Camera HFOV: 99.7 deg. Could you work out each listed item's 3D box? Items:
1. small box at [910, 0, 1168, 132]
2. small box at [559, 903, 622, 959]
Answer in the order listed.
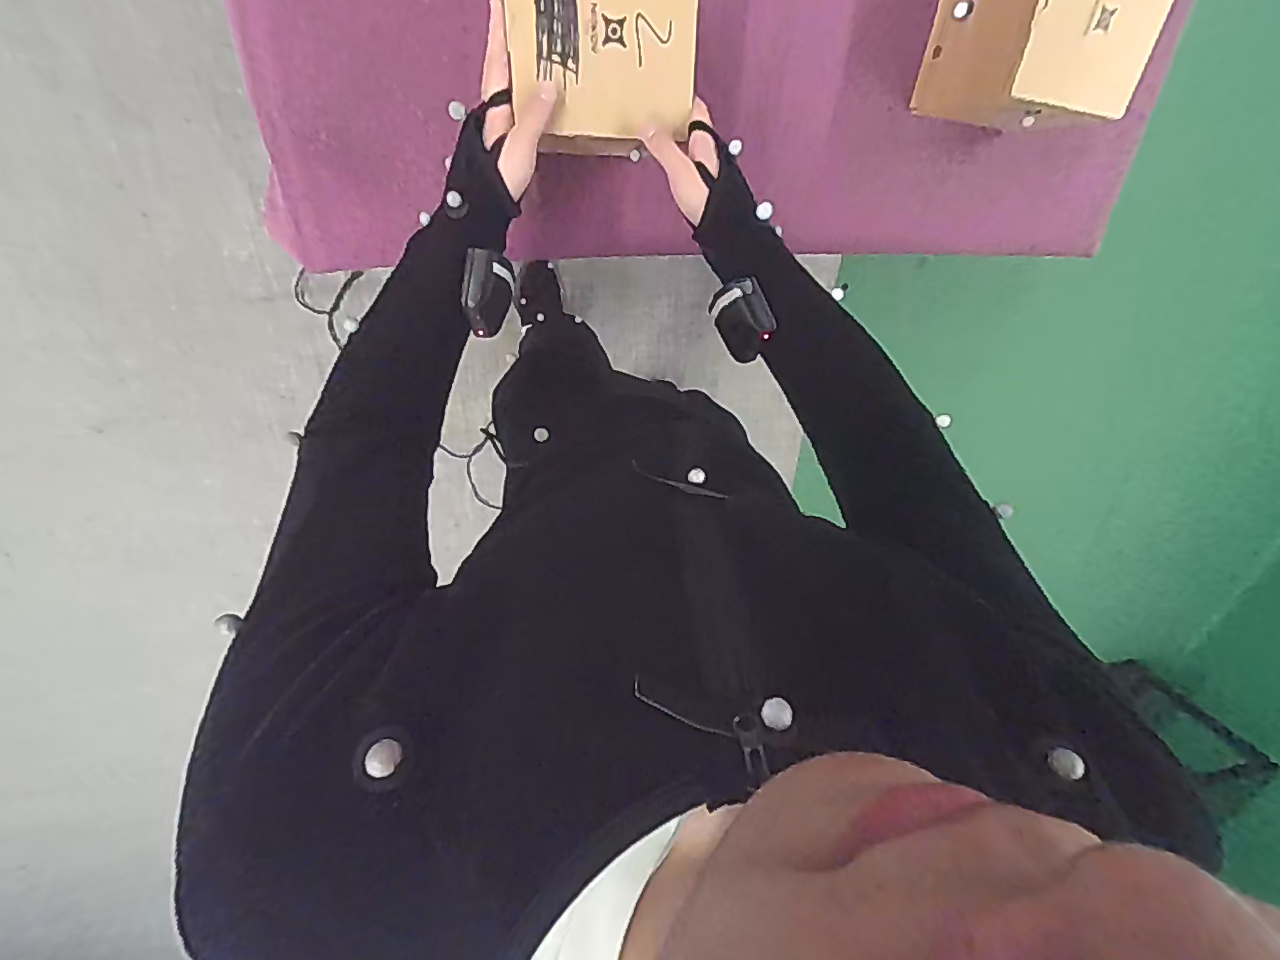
[{"bbox_3d":[0.478,-0.536,0.661,0.179,0.176,0.168,-1,119,-16],"label":"small box"},{"bbox_3d":[-0.171,1.574,1.825,0.179,0.176,0.168,-1,117,-18],"label":"small box"}]
